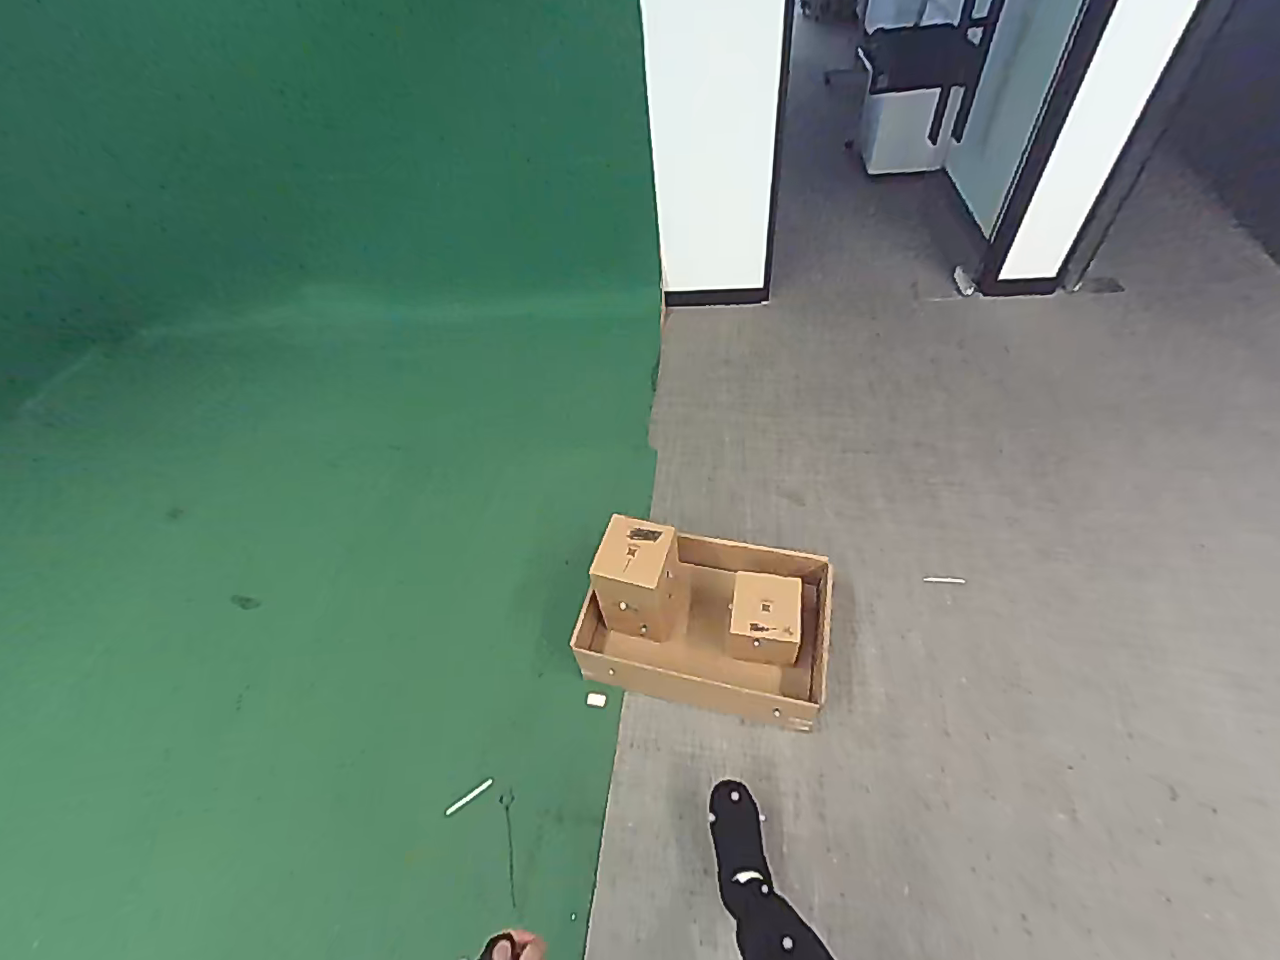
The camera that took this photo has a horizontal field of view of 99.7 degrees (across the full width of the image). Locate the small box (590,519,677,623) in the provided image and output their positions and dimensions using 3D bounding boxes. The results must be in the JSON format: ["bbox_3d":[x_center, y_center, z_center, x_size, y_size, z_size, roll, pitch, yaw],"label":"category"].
[{"bbox_3d":[-0.008,0.227,1.345,0.168,0.176,0.179,11,54,15],"label":"small box"}]

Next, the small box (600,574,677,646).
[{"bbox_3d":[0.005,0.328,1.473,0.168,0.176,0.179,10,53,14],"label":"small box"}]
